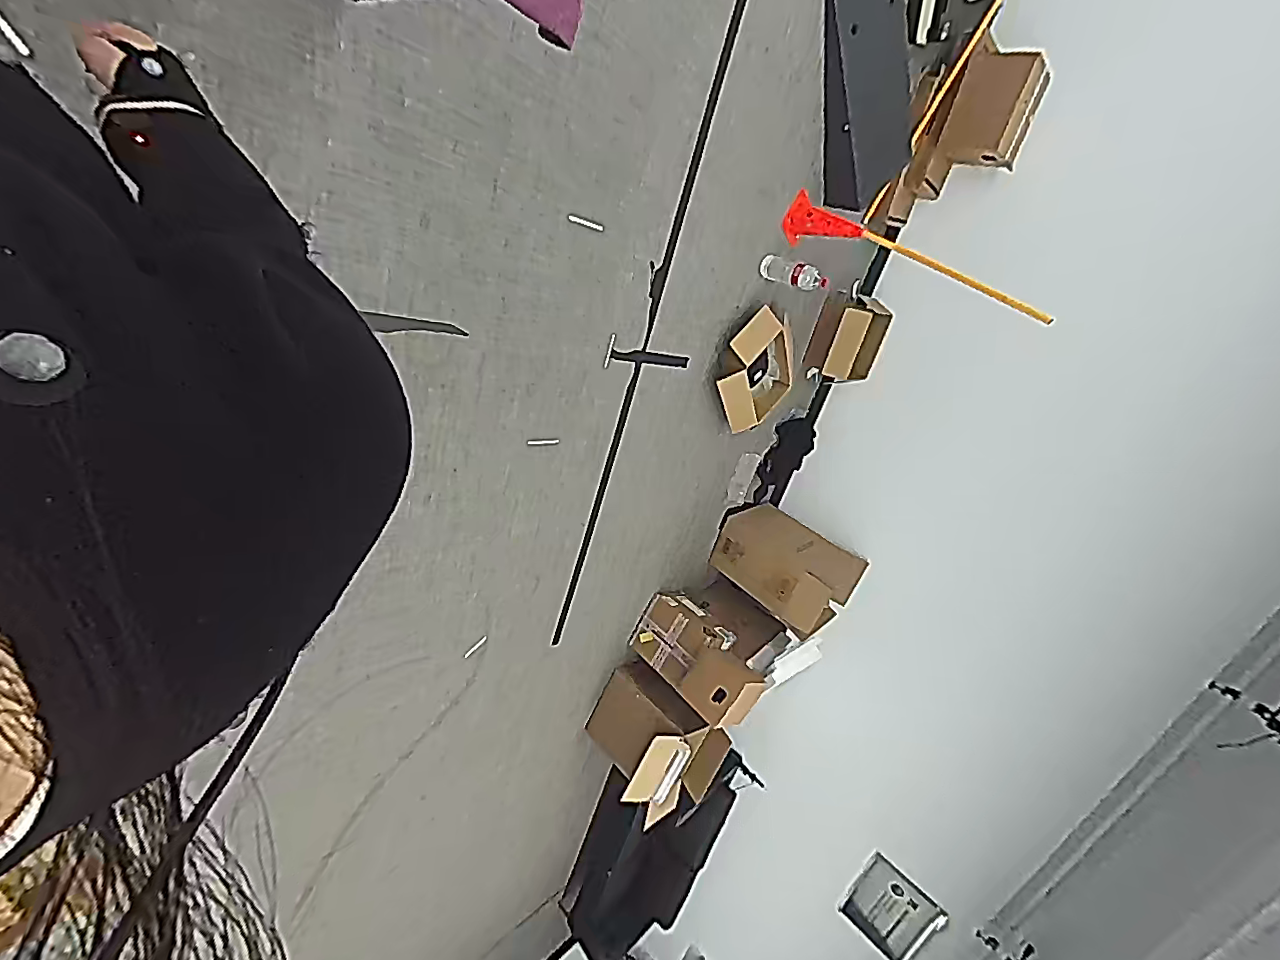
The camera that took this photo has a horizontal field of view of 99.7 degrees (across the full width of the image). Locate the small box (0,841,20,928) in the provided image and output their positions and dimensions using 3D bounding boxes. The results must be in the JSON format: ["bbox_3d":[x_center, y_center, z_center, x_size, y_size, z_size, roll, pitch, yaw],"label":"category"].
[{"bbox_3d":[-1.621,0.986,1.279,0.168,0.176,0.179,-20,132,-44],"label":"small box"}]
